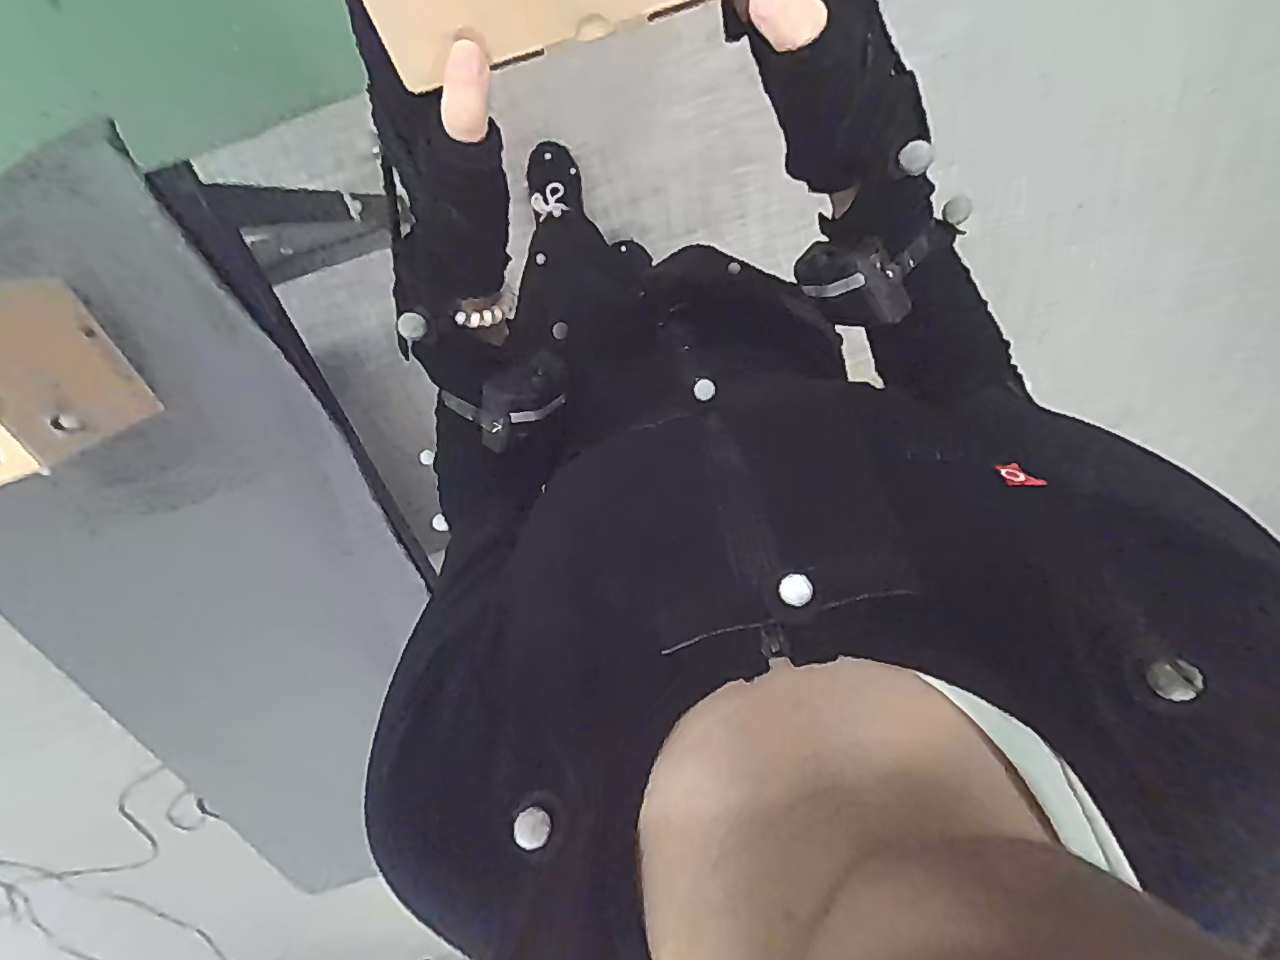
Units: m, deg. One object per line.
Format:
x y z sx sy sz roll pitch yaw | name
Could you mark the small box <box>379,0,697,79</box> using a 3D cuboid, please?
-0.040 -0.296 0.204 0.168 0.176 0.179 -12 141 6 | small box
